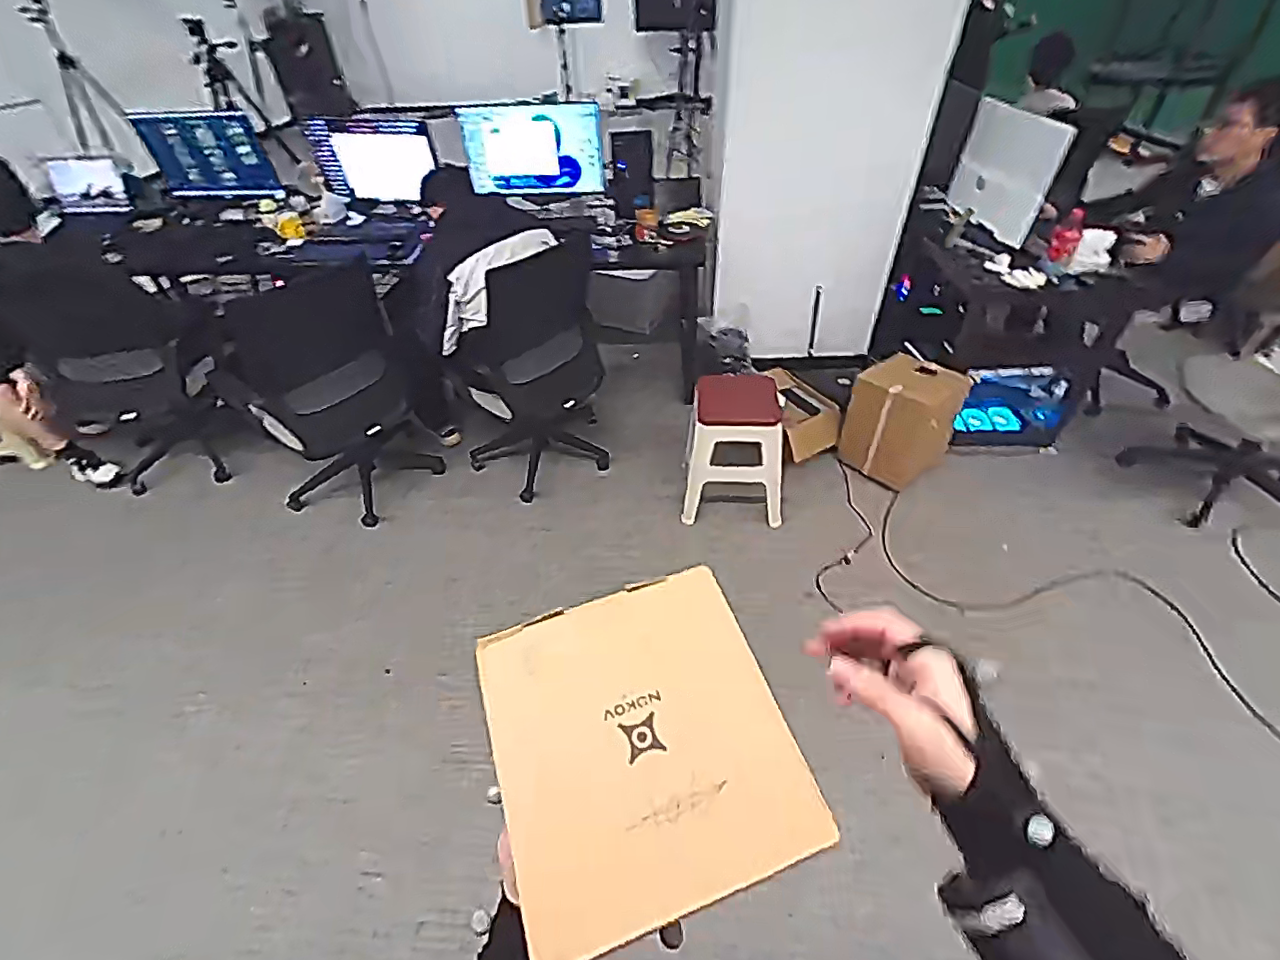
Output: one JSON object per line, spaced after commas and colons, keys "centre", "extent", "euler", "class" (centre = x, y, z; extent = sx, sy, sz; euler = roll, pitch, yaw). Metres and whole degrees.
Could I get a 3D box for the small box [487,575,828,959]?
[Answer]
{"centre": [-0.001, 0.201, 0.389], "extent": [0.168, 0.176, 0.179], "euler": [-15, 54, -11], "class": "small box"}
